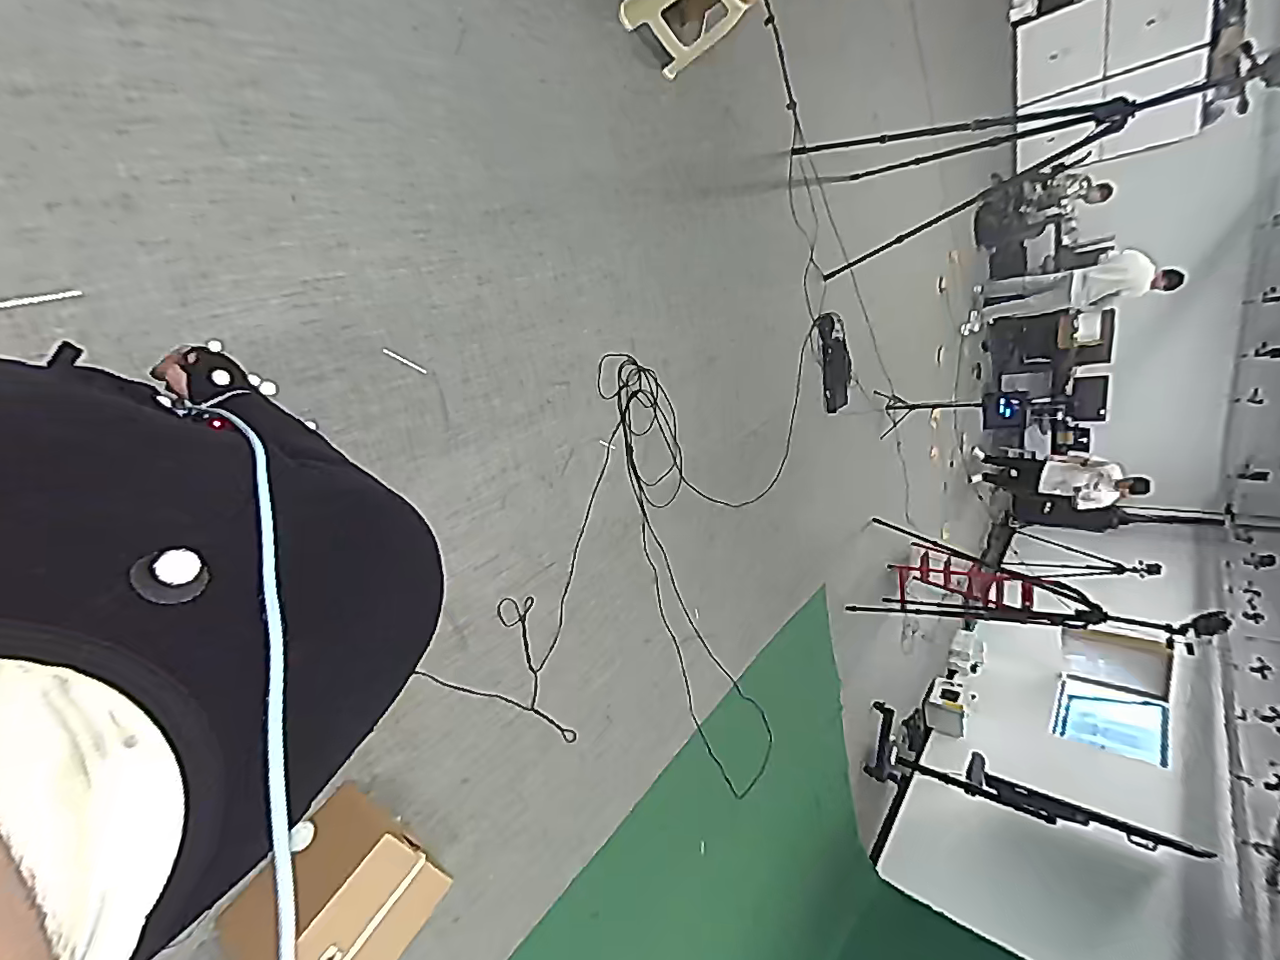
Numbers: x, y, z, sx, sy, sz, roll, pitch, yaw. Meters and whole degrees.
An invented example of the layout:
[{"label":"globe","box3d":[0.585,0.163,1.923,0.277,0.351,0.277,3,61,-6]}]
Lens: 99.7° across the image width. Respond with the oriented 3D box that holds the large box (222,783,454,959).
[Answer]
[{"label":"large box","box3d":[-0.804,1.139,1.466,0.408,0.320,0.320,-48,125,-32]}]
